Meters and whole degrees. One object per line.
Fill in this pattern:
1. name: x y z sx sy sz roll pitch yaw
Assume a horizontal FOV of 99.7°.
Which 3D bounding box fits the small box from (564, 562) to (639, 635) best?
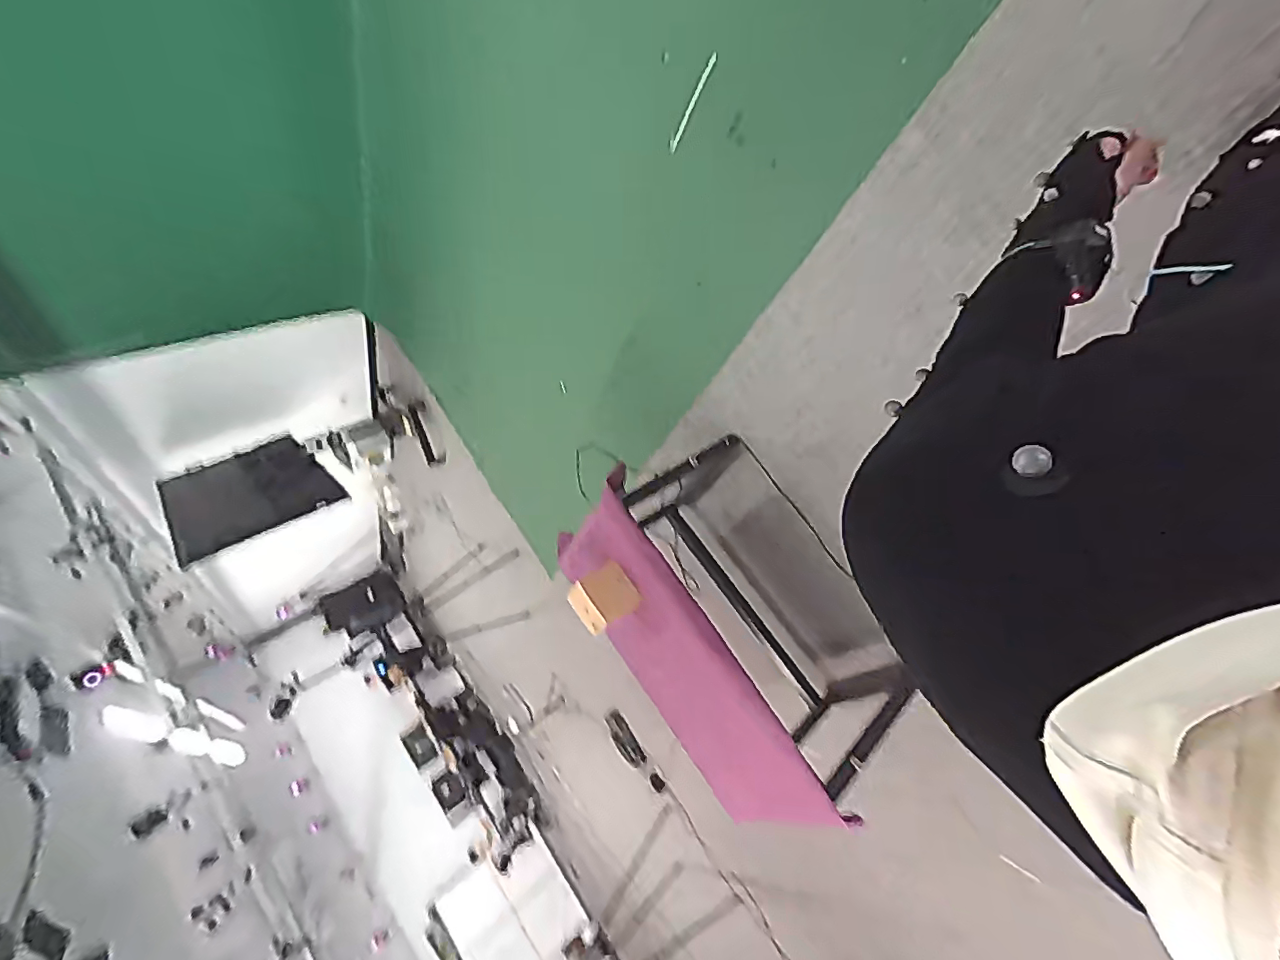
1. small box: -0.136 0.413 1.917 0.179 0.176 0.168 53 145 11
